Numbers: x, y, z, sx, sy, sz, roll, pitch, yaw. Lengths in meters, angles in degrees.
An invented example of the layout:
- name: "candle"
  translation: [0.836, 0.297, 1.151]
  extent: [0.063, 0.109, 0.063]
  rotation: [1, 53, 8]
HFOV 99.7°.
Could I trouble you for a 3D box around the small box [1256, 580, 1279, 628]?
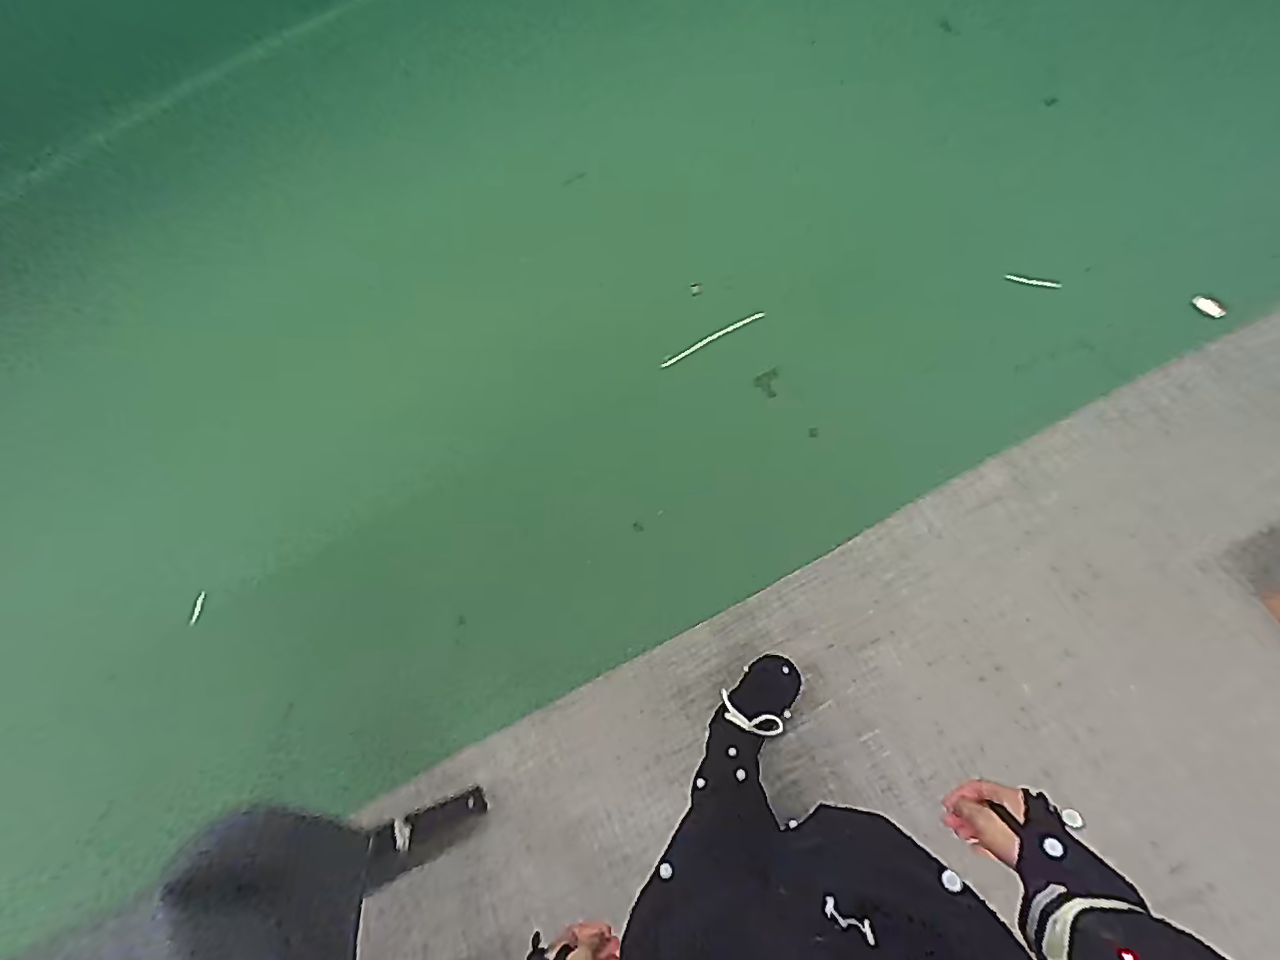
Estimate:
- name: "small box"
  translation: [1.307, 0.229, 0.969]
  extent: [0.179, 0.176, 0.168]
  rotation: [-26, 67, 2]
